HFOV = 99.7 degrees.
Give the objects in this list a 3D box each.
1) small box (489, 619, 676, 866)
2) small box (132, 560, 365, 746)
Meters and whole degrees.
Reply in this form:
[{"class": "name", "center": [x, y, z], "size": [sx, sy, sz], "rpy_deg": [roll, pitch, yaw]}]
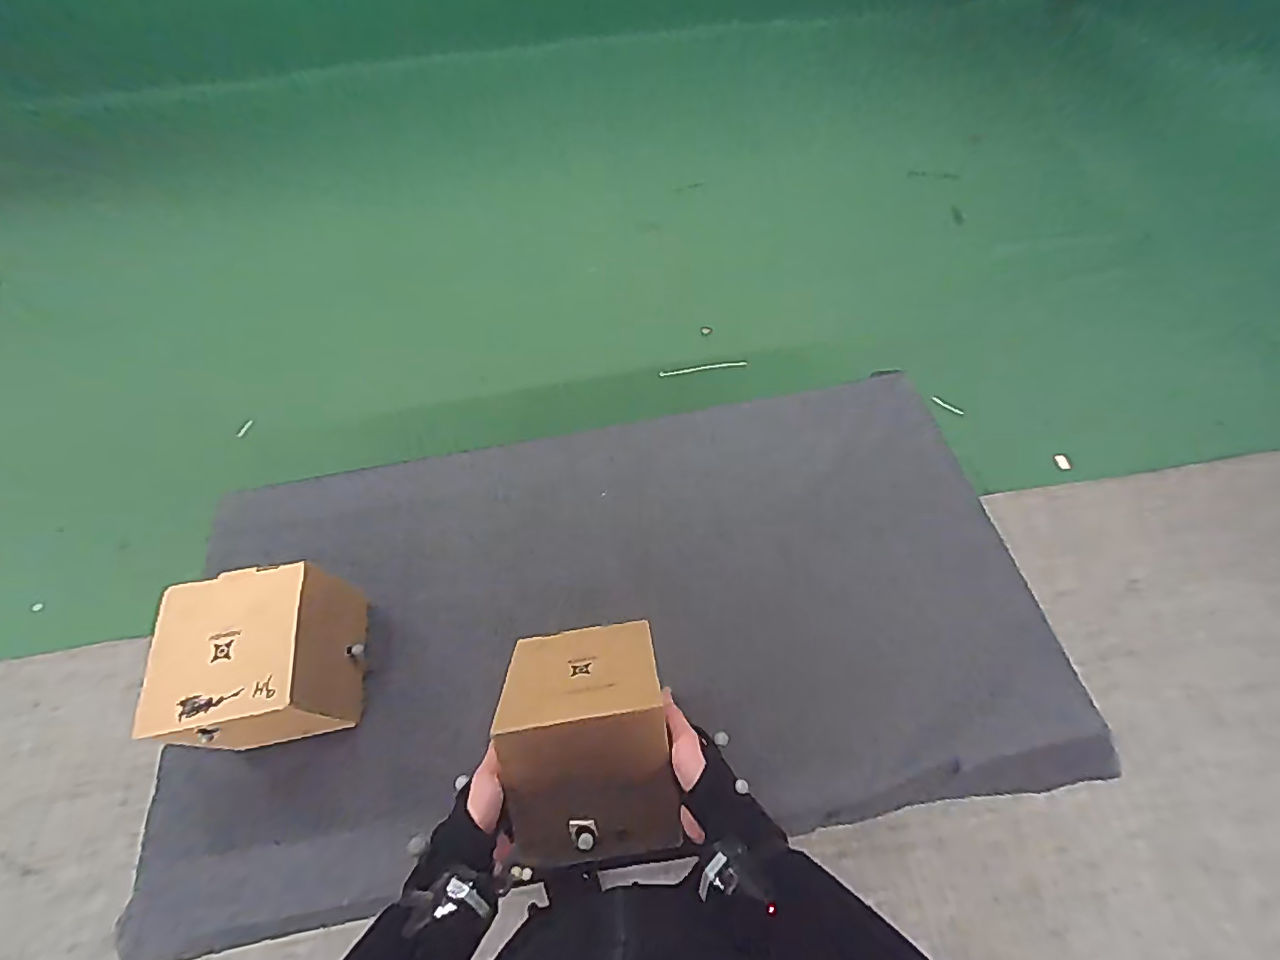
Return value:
[{"class": "small box", "center": [-0.057, 0.280, 0.605], "size": [0.168, 0.179, 0.176], "rpy_deg": [-8, 103, -2]}, {"class": "small box", "center": [-0.473, 0.224, 0.689], "size": [0.168, 0.176, 0.179], "rpy_deg": [-11, 61, -4]}]
